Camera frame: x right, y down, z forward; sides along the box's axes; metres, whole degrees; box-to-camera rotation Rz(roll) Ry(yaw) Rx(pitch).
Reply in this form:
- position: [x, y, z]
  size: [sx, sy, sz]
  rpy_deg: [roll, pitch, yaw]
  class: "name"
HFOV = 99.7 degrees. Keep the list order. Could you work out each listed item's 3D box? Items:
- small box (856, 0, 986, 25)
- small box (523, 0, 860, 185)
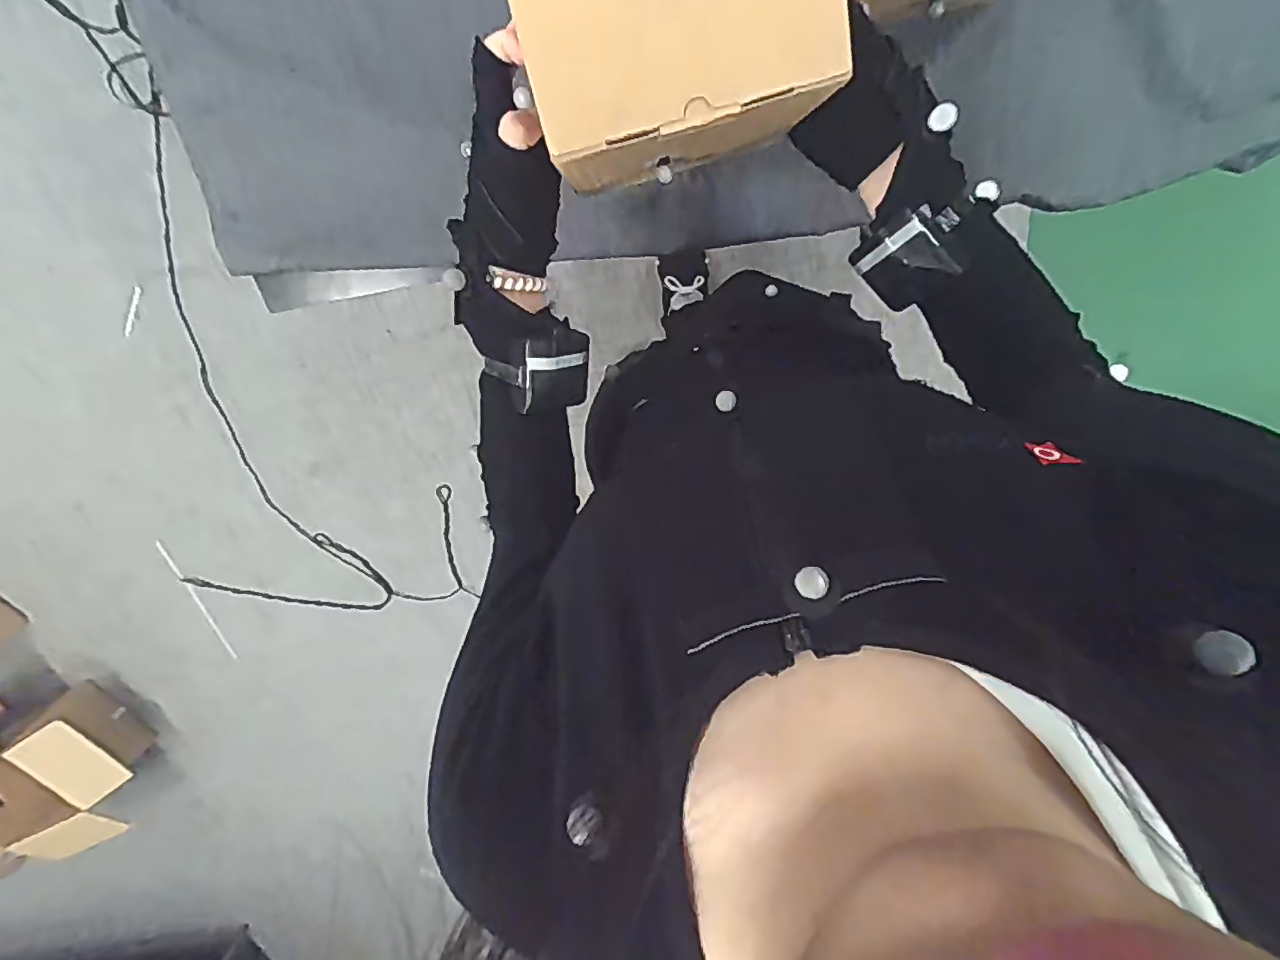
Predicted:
- position: [0.262, -0.513, 0.436]
  size: [0.168, 0.176, 0.179]
  rpy_deg: [-7, 115, 4]
  class: "small box"
- position: [0.013, -0.302, 0.328]
  size: [0.168, 0.176, 0.179]
  rpy_deg: [-14, 113, 4]
  class: "small box"
